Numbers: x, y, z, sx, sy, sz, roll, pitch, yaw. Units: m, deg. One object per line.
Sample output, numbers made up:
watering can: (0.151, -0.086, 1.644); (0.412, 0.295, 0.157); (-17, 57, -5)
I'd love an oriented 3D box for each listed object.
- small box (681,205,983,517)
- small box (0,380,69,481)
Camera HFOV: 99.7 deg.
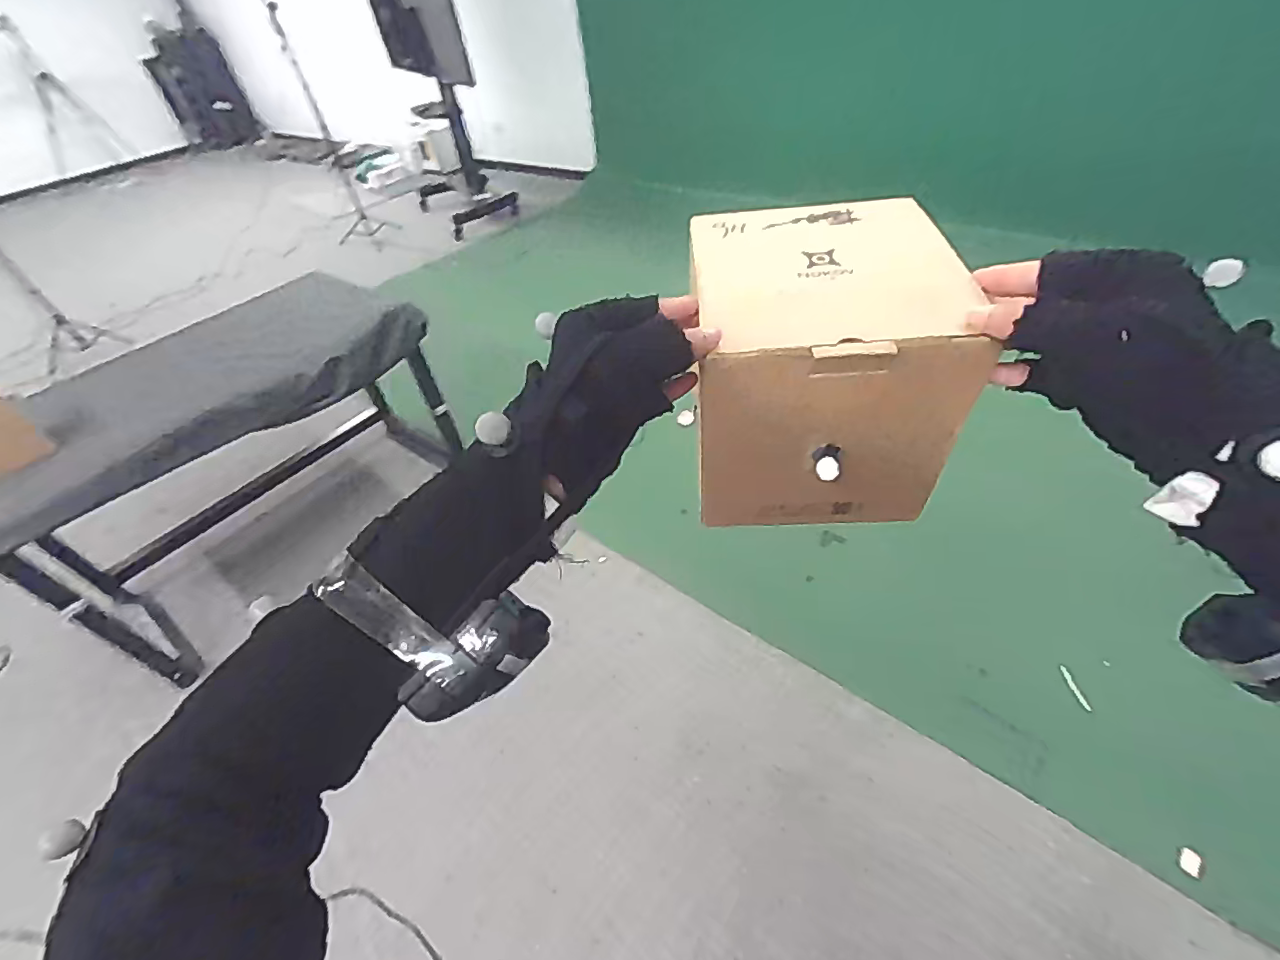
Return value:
small box: (0.120, -0.082, 0.418); (0.168, 0.176, 0.179); (-3, 50, 4)
small box: (-1.567, -0.116, 1.308); (0.168, 0.176, 0.179); (23, 51, 28)
